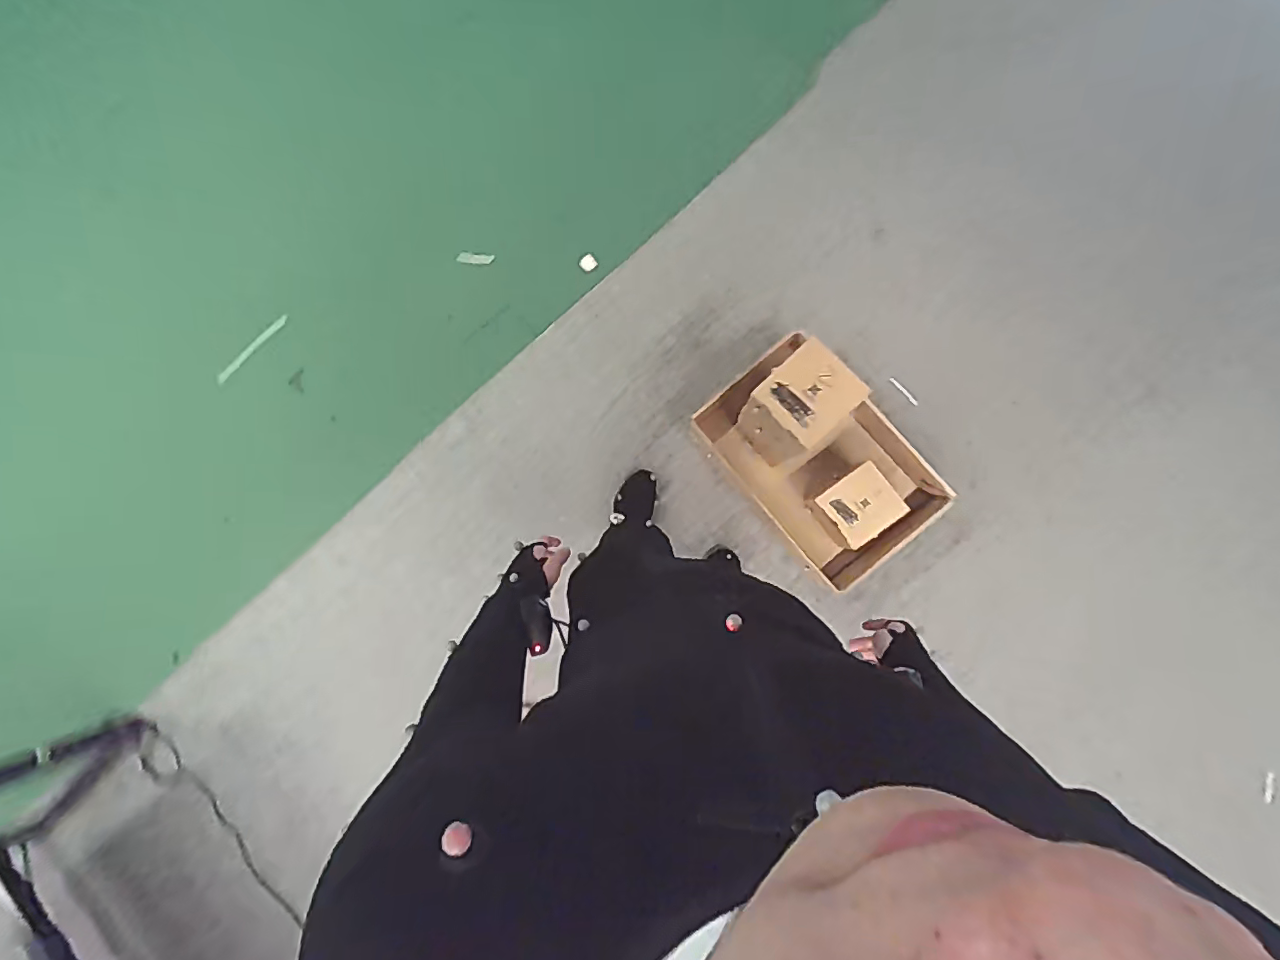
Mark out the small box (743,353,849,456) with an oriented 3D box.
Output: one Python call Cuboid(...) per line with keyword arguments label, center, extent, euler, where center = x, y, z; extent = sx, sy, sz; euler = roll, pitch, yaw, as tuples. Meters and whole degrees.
Cuboid(label="small box", center=(0.370, -0.177, 1.328), extent=(0.179, 0.176, 0.168), euler=(-42, 84, 2))
